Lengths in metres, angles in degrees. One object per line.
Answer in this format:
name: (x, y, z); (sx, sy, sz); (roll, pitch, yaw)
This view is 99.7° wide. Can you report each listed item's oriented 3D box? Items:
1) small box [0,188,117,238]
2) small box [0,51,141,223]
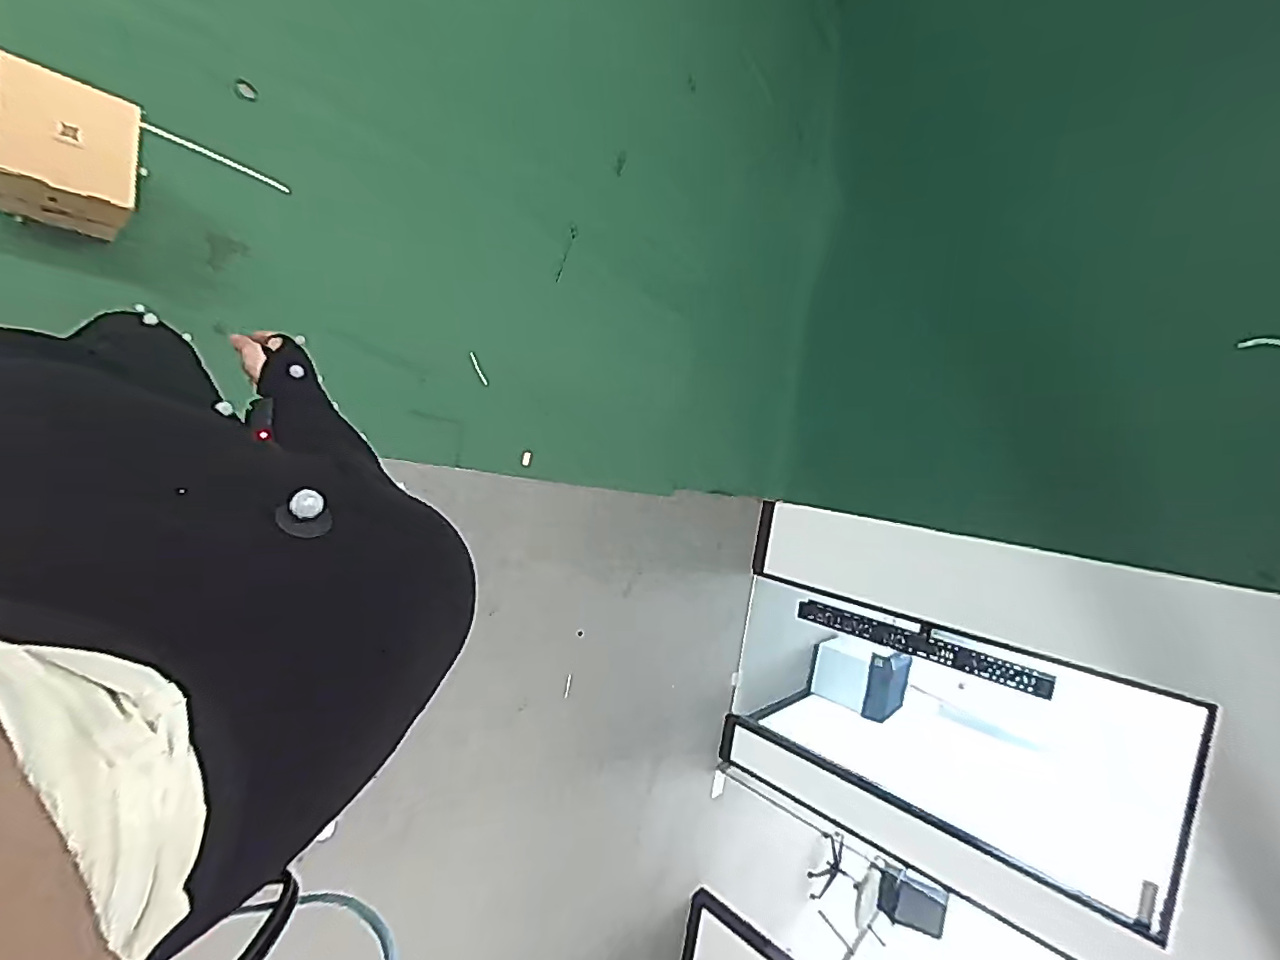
small box: (-1.107, -0.585, 1.031); (0.168, 0.176, 0.179); (5, 94, -48)
small box: (-0.985, -0.568, 0.926); (0.168, 0.176, 0.179); (3, 97, -49)
